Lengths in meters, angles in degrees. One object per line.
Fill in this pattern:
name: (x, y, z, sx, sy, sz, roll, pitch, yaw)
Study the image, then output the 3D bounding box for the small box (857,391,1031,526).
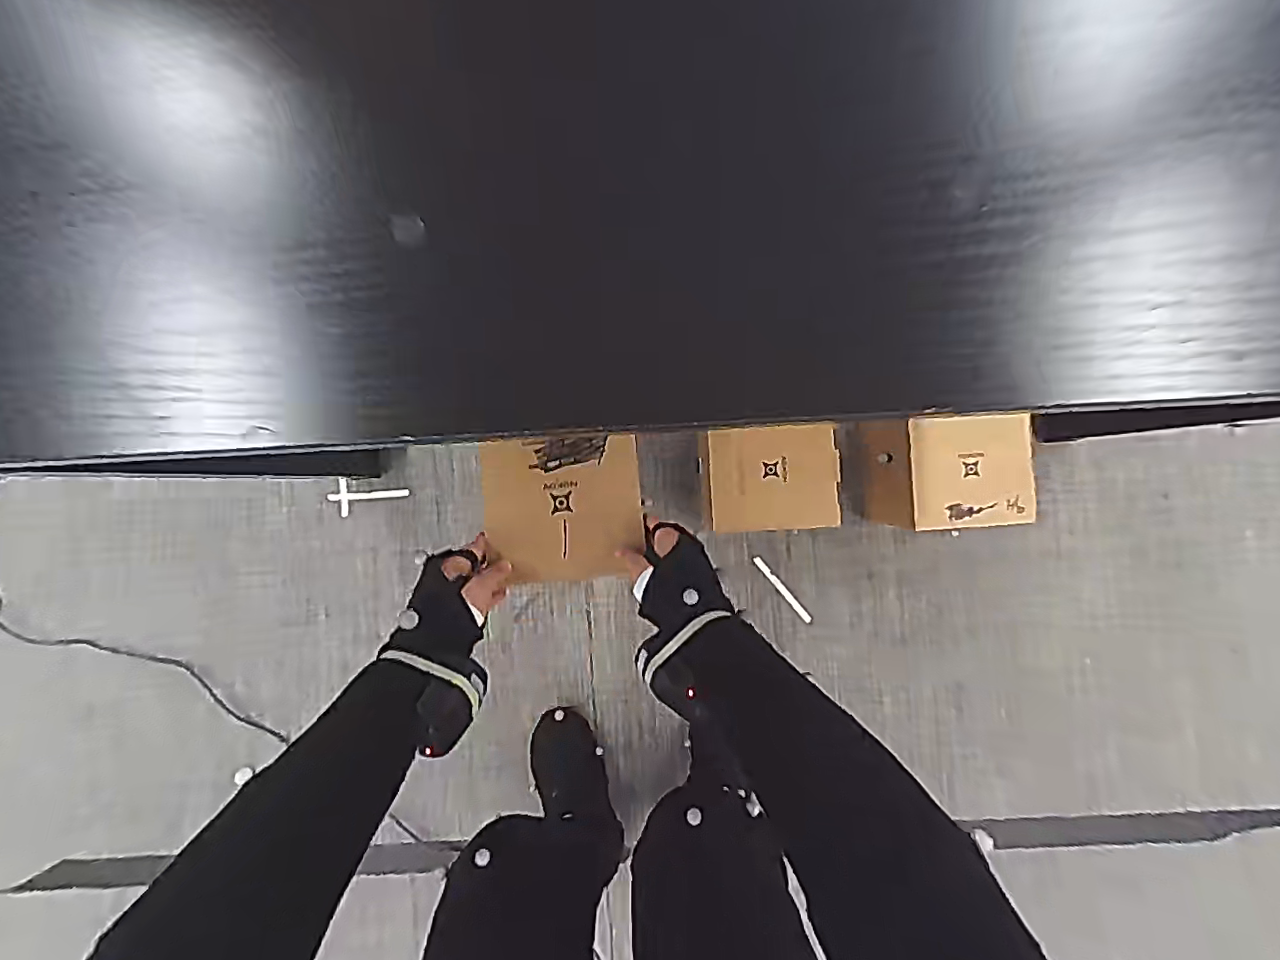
small box: (0.438, -0.026, 0.807, 0.168, 0.176, 0.179, -4, 89, 1)

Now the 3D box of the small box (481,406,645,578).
small box: (-0.087, 0.024, 0.649, 0.168, 0.176, 0.179, -5, 81, -2)

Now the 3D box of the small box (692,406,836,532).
small box: (0.176, -0.015, 0.812, 0.179, 0.176, 0.168, -4, 89, 1)
